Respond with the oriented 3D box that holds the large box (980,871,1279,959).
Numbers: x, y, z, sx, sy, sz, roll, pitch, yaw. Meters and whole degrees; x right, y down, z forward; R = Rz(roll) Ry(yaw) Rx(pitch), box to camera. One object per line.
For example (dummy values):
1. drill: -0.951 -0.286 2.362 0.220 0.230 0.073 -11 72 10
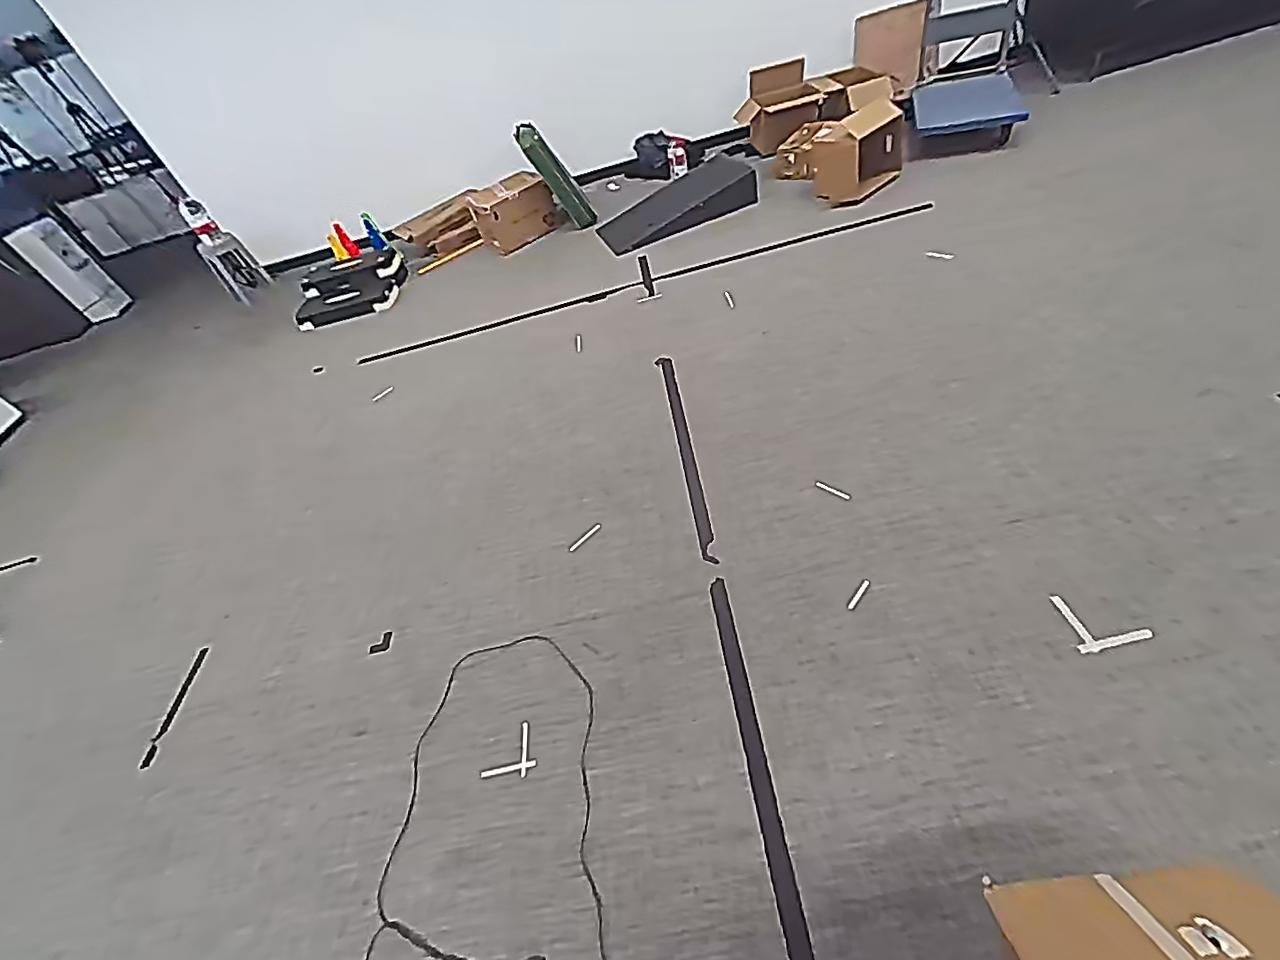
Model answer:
1. large box: 0.632 0.691 0.545 0.320 0.408 0.320 -14 81 11
